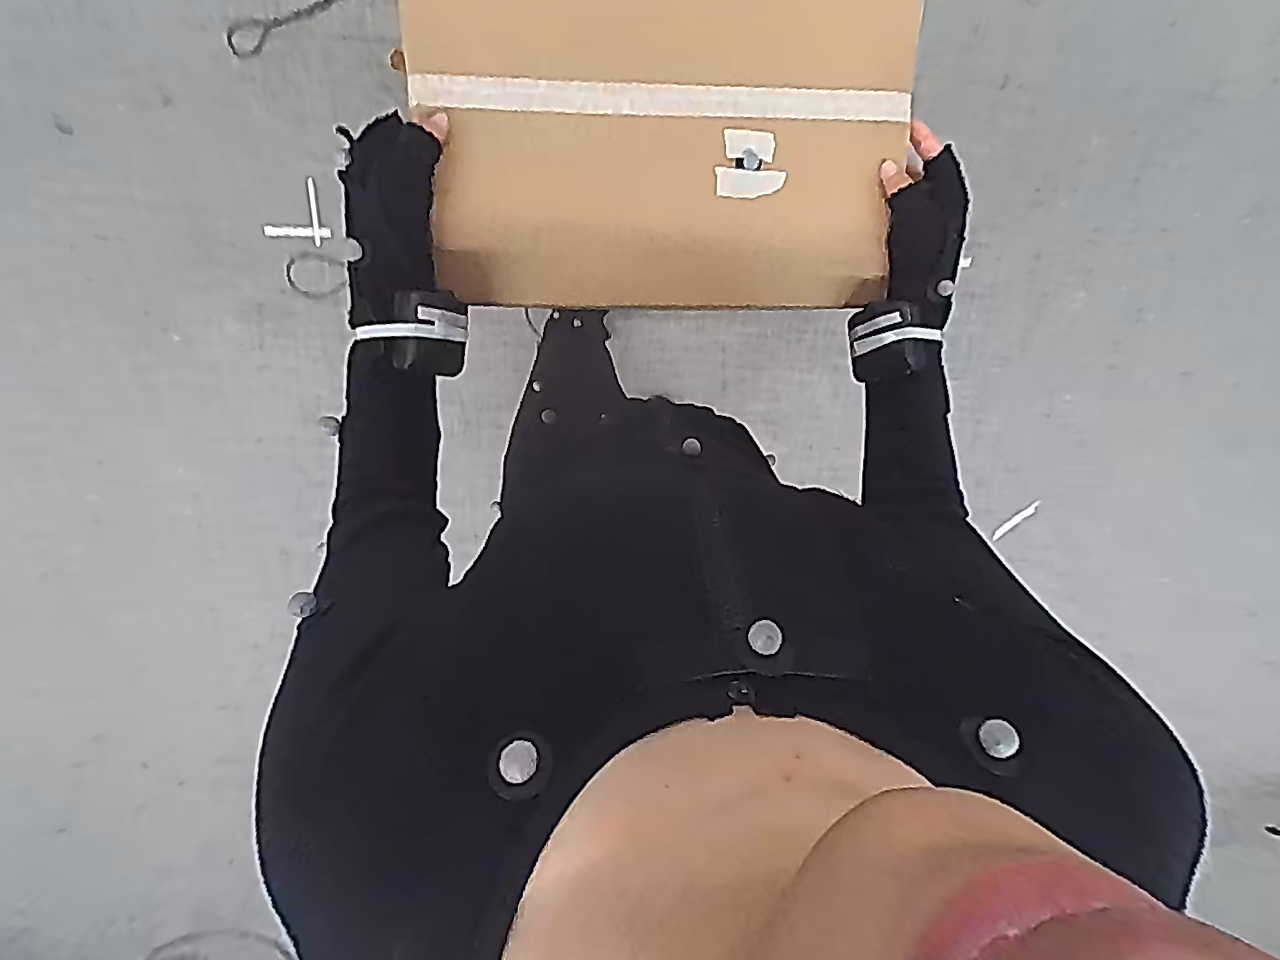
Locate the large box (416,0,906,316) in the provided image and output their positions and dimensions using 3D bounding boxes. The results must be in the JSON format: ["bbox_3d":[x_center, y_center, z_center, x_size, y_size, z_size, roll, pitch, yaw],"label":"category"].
[{"bbox_3d":[0.008,-0.348,0.599,0.408,0.320,0.320,-2,107,-6],"label":"large box"}]
